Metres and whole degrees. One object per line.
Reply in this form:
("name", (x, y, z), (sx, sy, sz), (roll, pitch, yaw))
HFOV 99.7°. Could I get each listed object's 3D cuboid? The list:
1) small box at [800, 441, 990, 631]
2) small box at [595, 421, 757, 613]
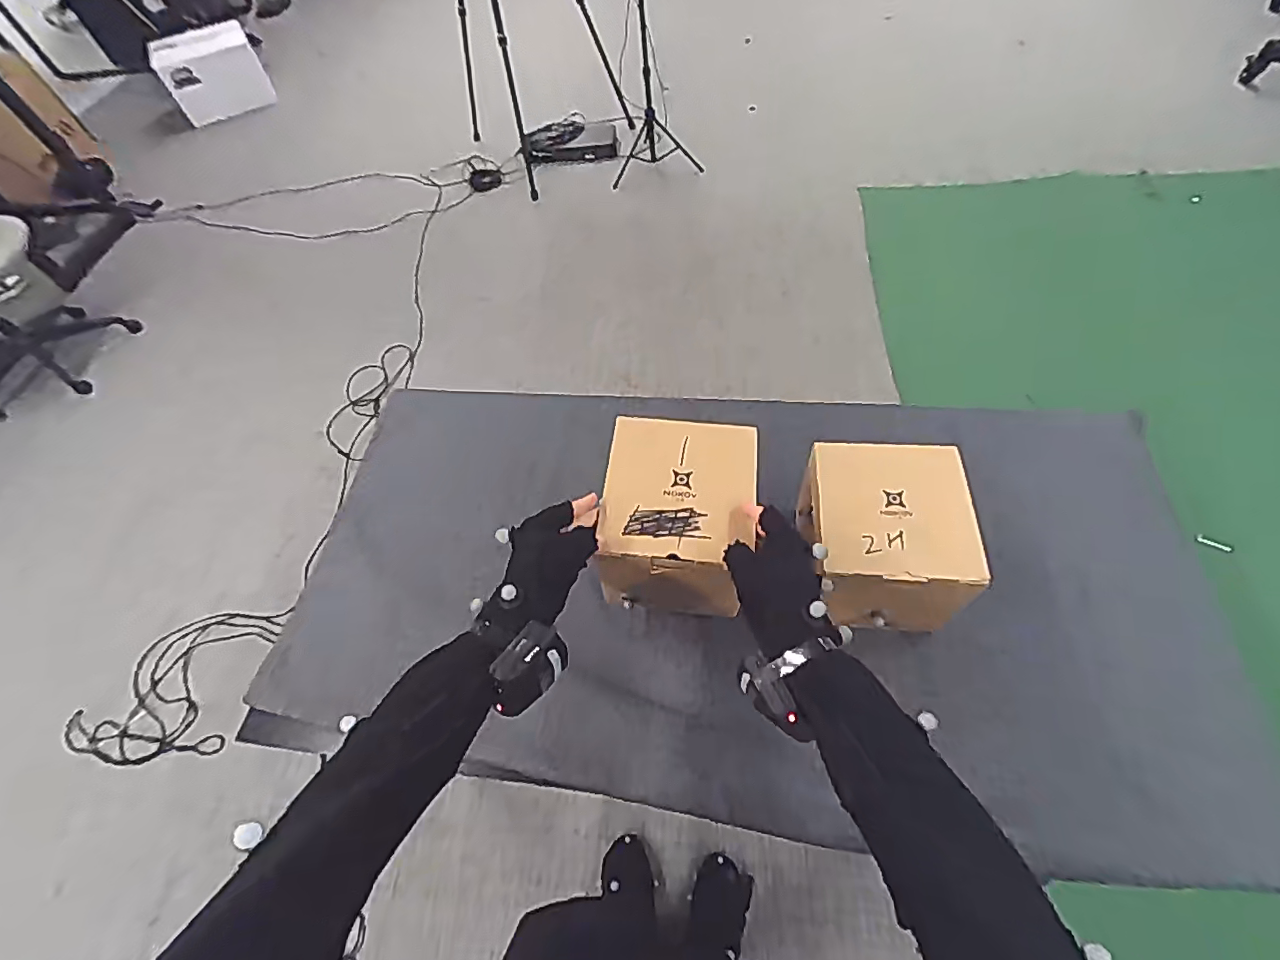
("small box", (0.295, 0.071, 0.672), (0.168, 0.176, 0.179), (1, 58, 10))
("small box", (0.049, 0.051, 0.659), (0.168, 0.176, 0.179), (4, 59, 6))
